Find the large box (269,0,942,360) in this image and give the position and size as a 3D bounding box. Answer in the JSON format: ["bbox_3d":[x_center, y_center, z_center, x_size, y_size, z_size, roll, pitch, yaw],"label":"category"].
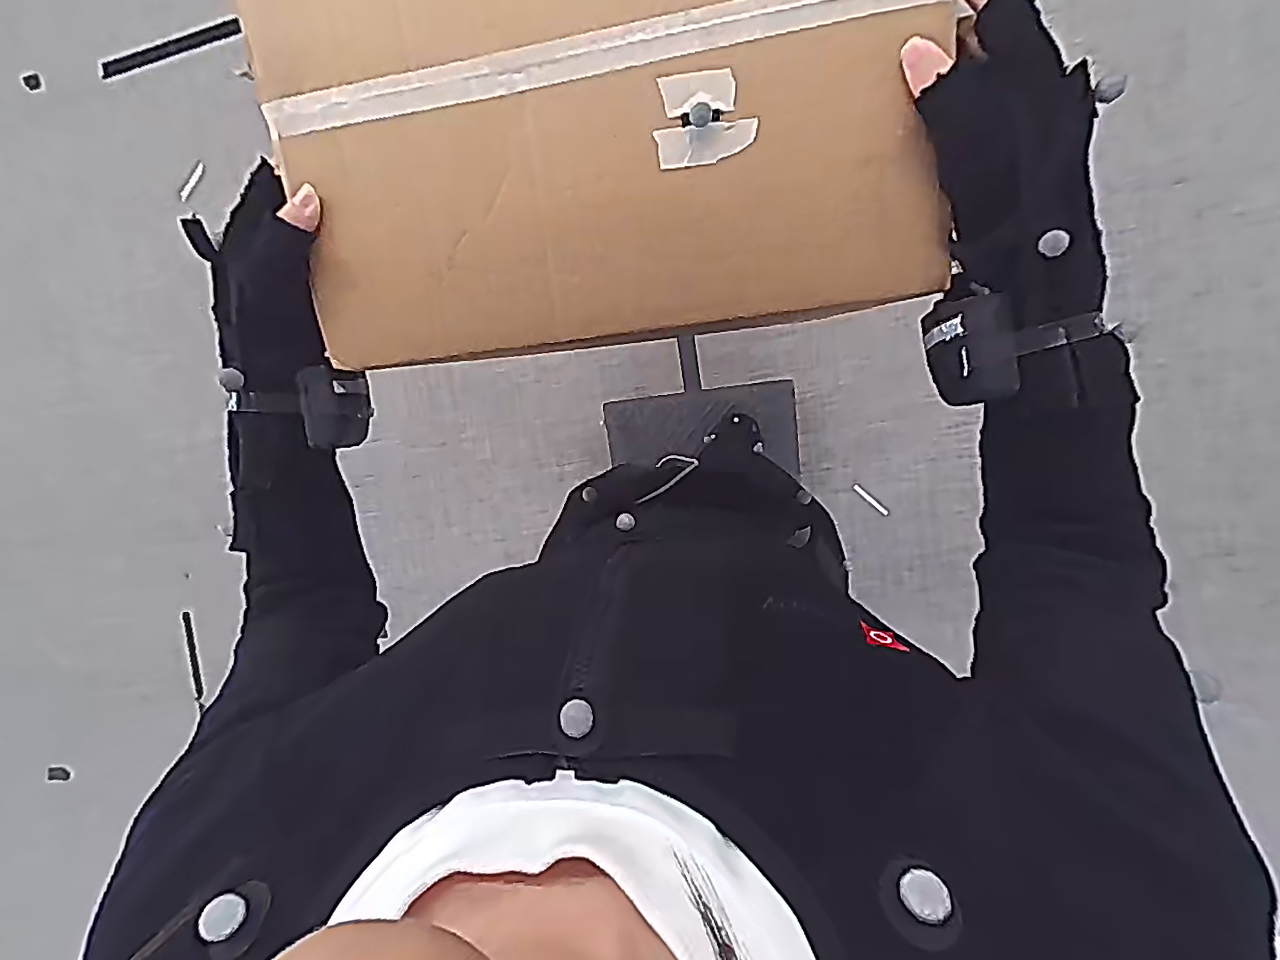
[{"bbox_3d":[-0.015,-0.291,0.471,0.408,0.320,0.320,-6,104,8],"label":"large box"}]
